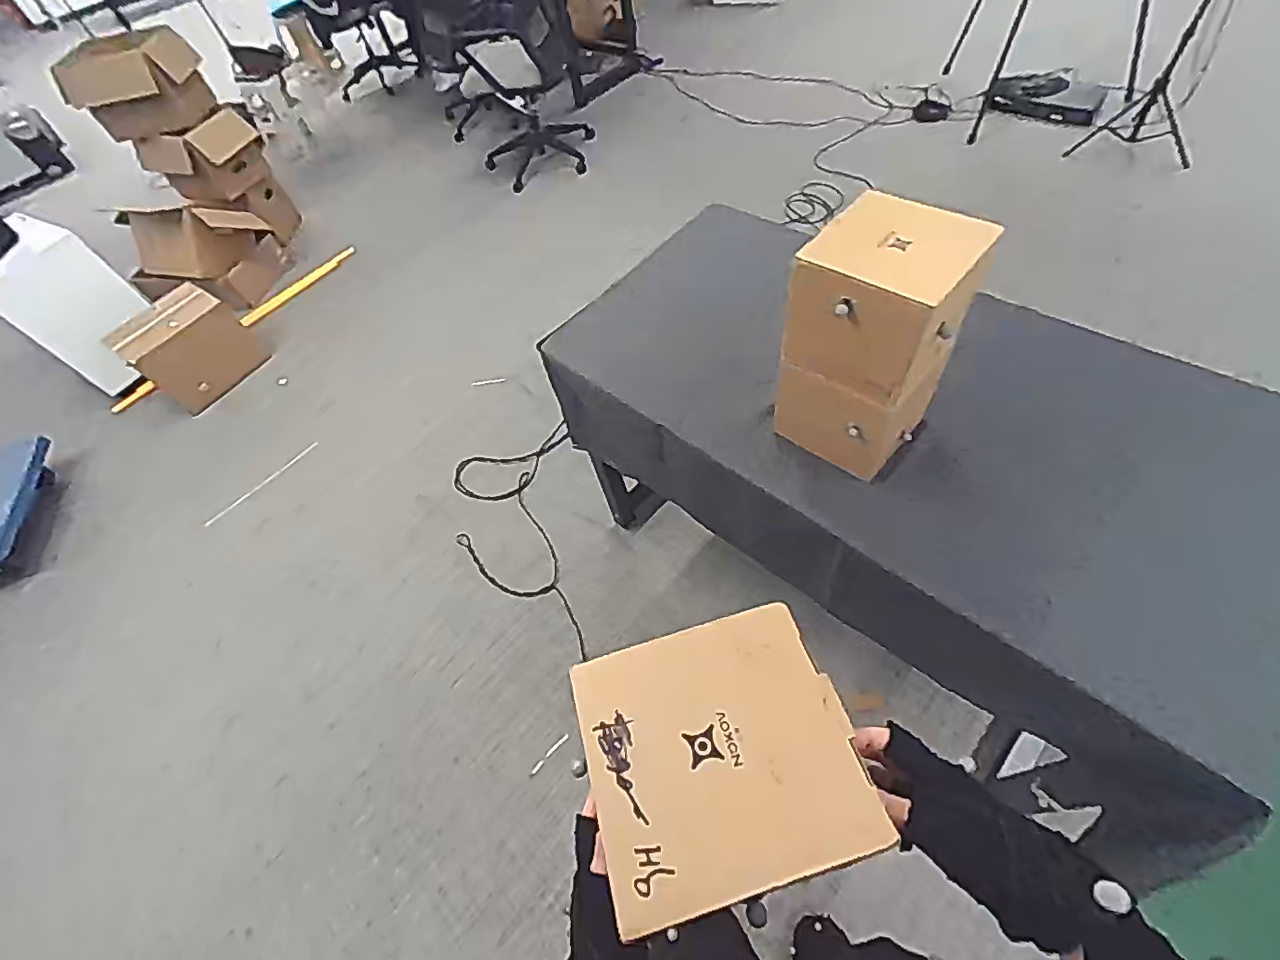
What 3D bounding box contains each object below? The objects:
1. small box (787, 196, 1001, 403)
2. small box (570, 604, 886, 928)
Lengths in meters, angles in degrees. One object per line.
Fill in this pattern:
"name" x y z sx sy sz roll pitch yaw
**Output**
"small box" 0.311 -0.226 0.700 0.179 0.176 0.168 35 68 28
"small box" 0.054 0.227 0.429 0.179 0.176 0.168 -14 50 -6
